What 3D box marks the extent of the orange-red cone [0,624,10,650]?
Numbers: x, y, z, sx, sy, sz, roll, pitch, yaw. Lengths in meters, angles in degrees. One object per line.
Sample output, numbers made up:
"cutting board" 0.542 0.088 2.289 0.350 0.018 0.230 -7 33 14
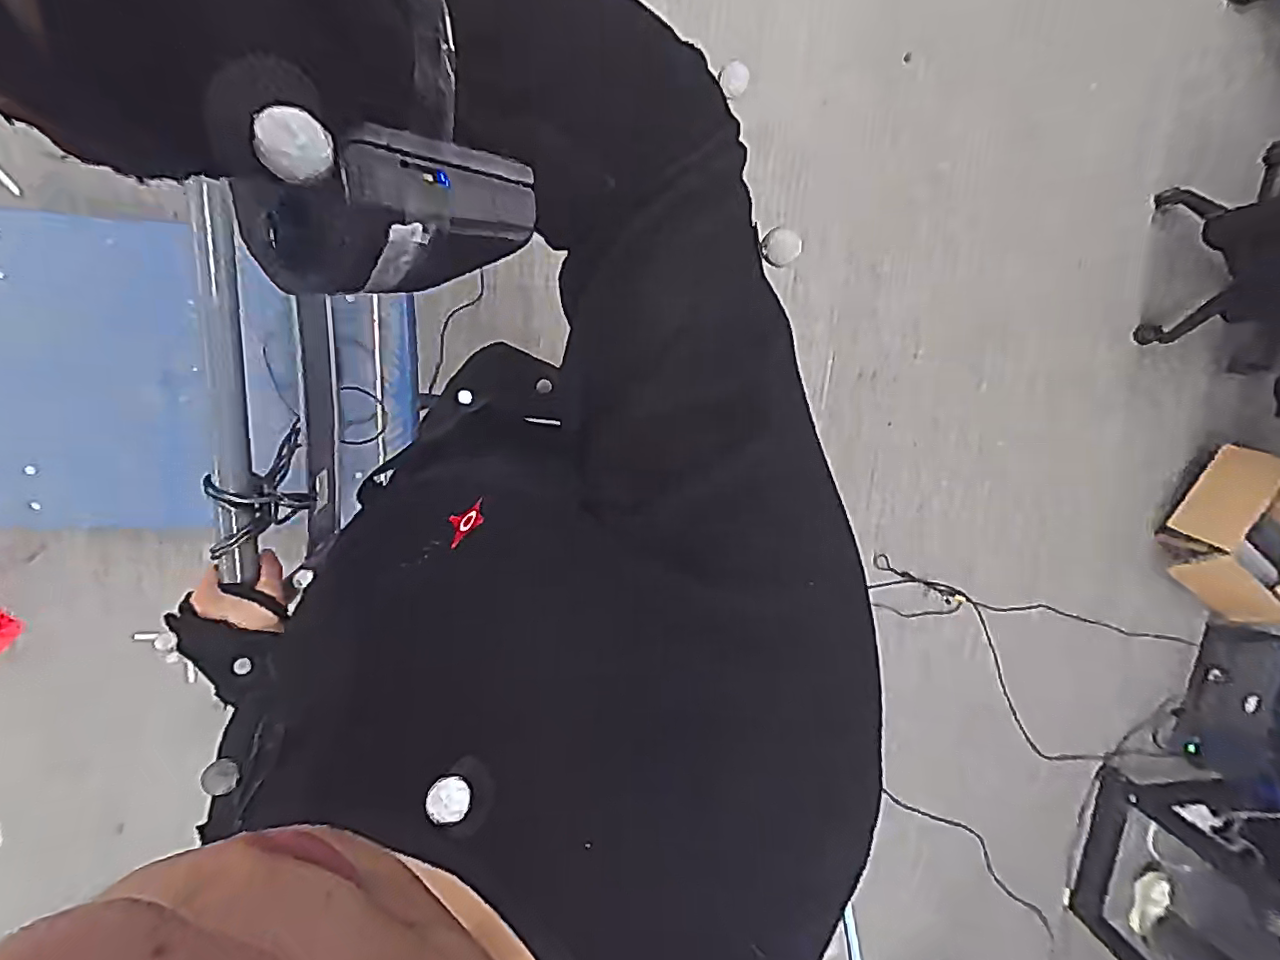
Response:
"orange-red cone" -1.494 0.363 1.009 0.198 0.360 0.199 -41 103 -1
